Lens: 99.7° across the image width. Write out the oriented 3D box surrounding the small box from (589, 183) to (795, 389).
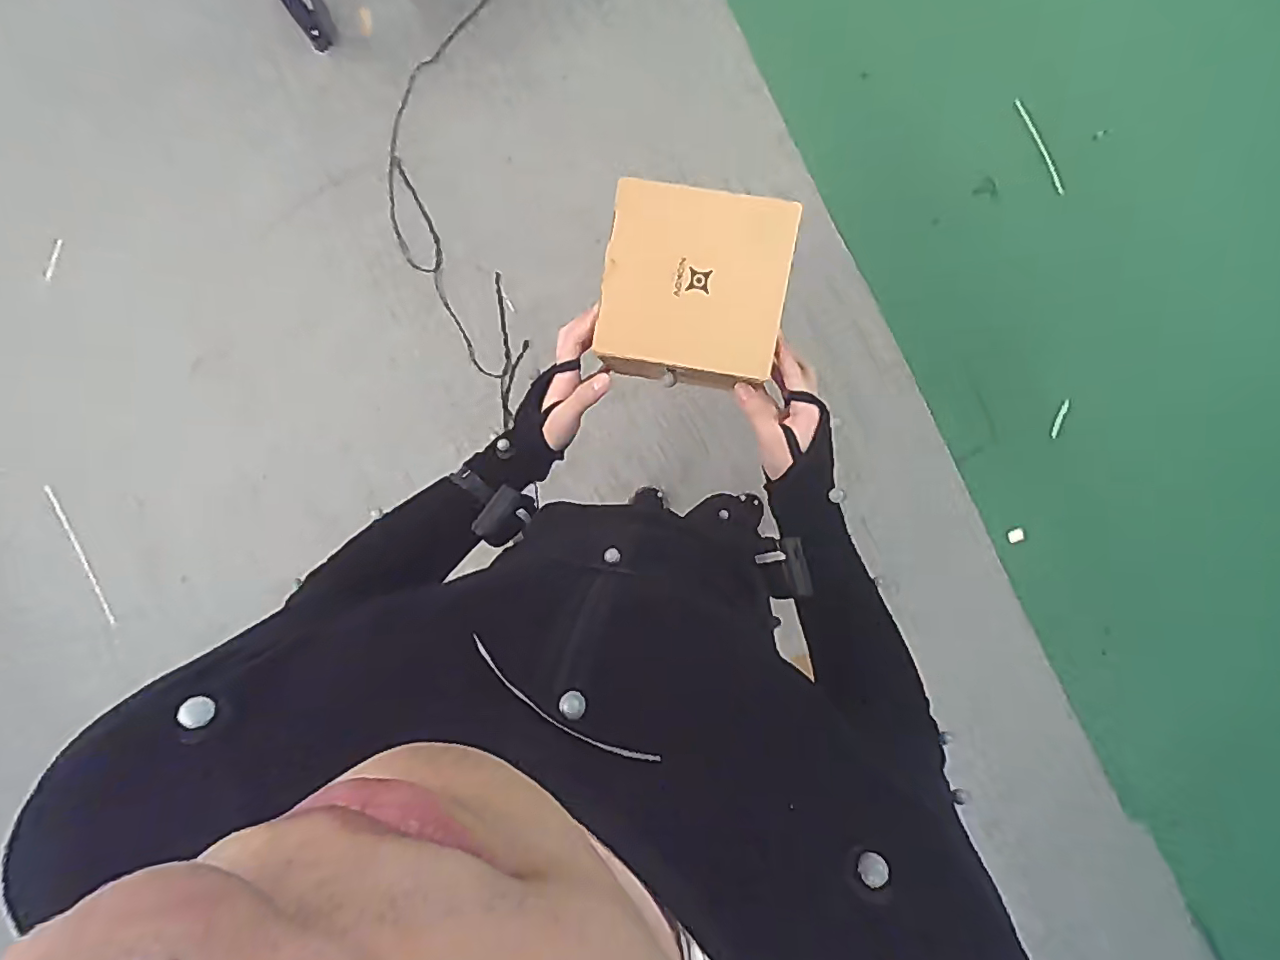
[{"bbox_3d":[0.054,-0.196,0.594,0.179,0.176,0.168,10,96,5],"label":"small box"}]
